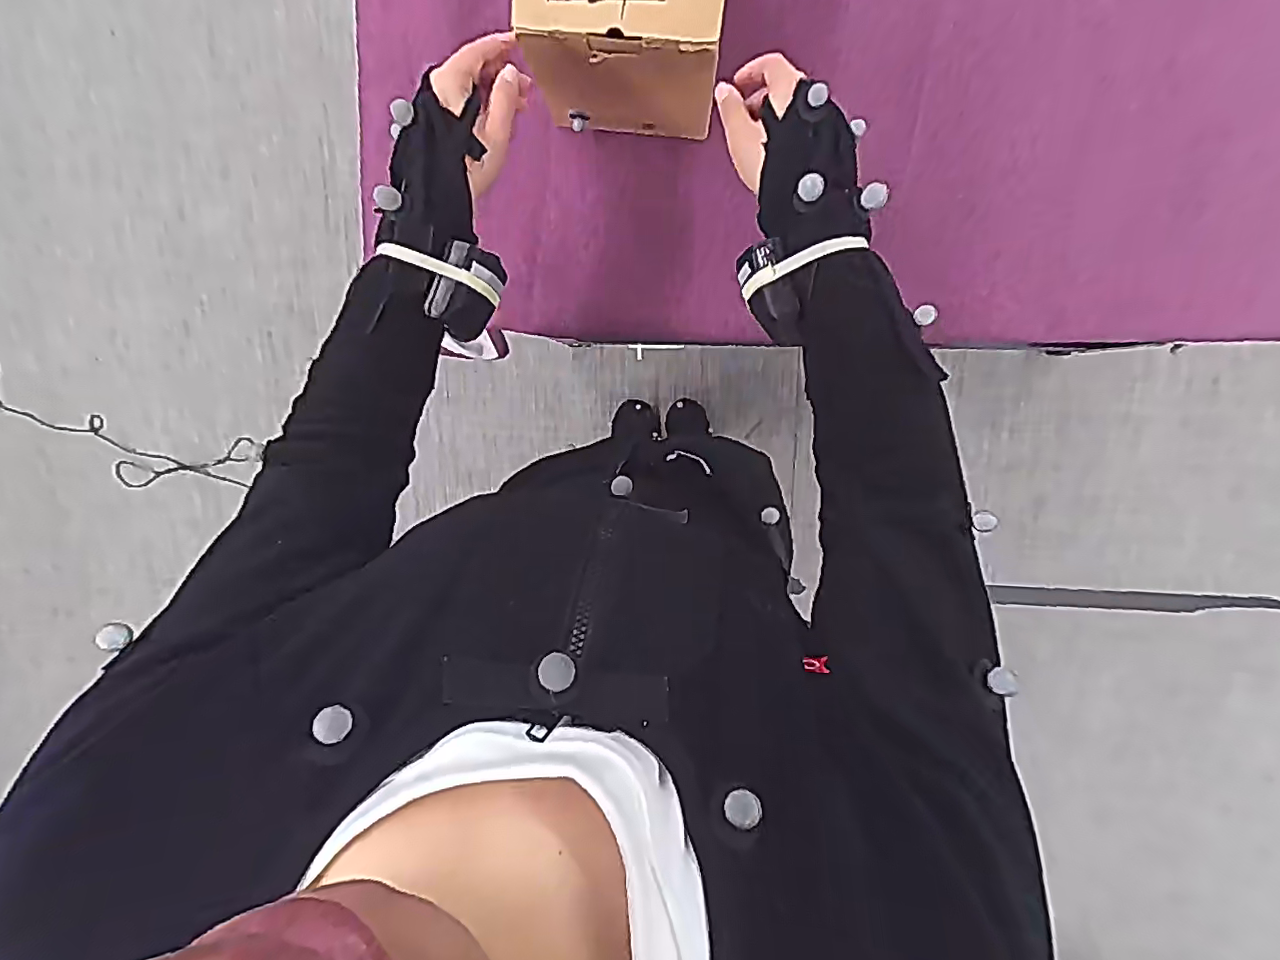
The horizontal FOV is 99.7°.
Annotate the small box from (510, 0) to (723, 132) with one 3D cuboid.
[{"bbox_3d":[-0.008,-0.444,0.484,0.168,0.176,0.179,7,100,2],"label":"small box"}]
